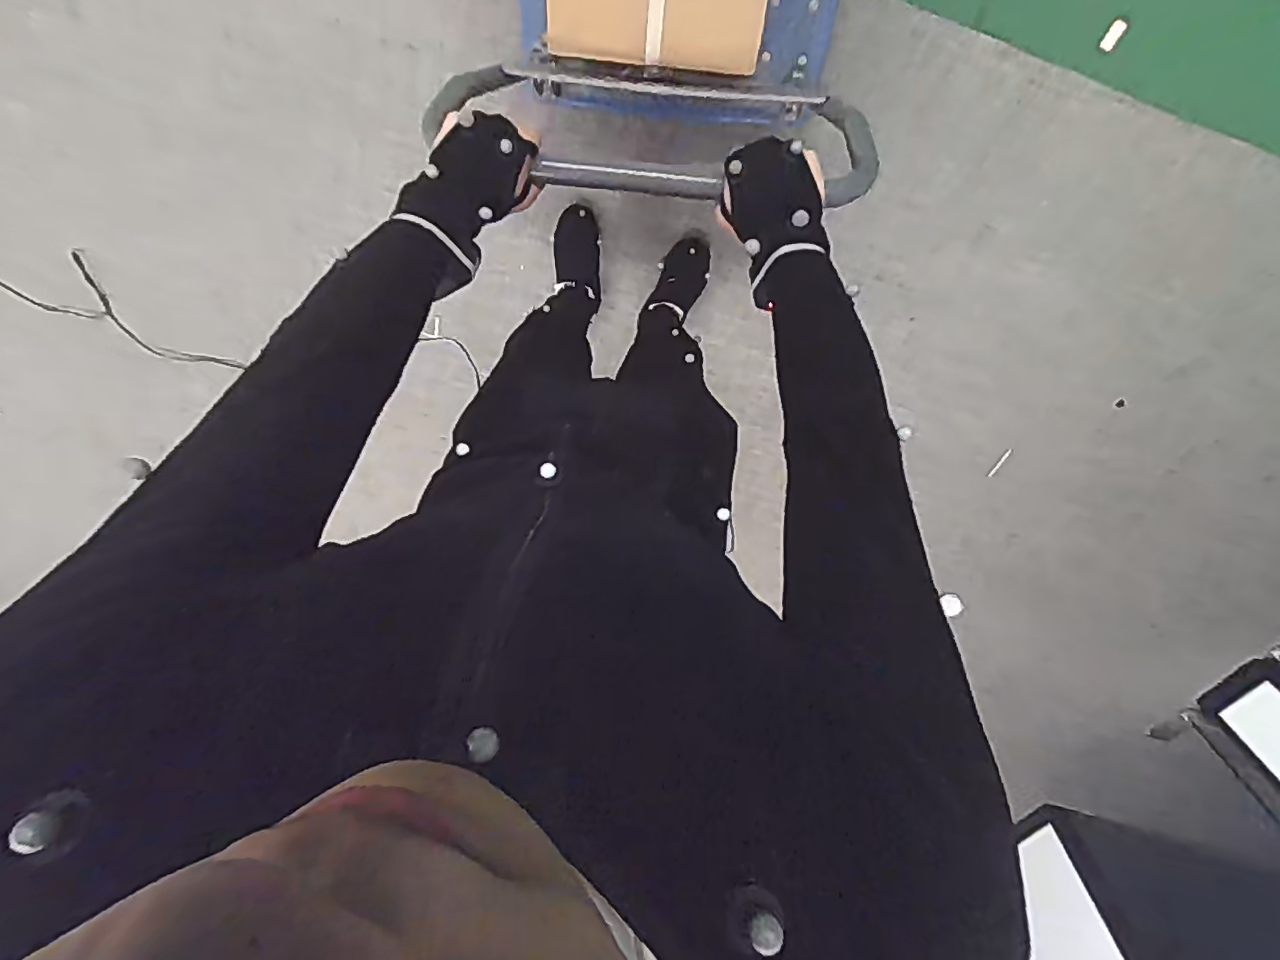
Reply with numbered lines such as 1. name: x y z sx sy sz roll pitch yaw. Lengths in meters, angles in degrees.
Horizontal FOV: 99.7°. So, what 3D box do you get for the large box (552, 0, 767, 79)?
1. large box: 0.049 -0.873 0.825 0.320 0.320 0.408 7 126 1
